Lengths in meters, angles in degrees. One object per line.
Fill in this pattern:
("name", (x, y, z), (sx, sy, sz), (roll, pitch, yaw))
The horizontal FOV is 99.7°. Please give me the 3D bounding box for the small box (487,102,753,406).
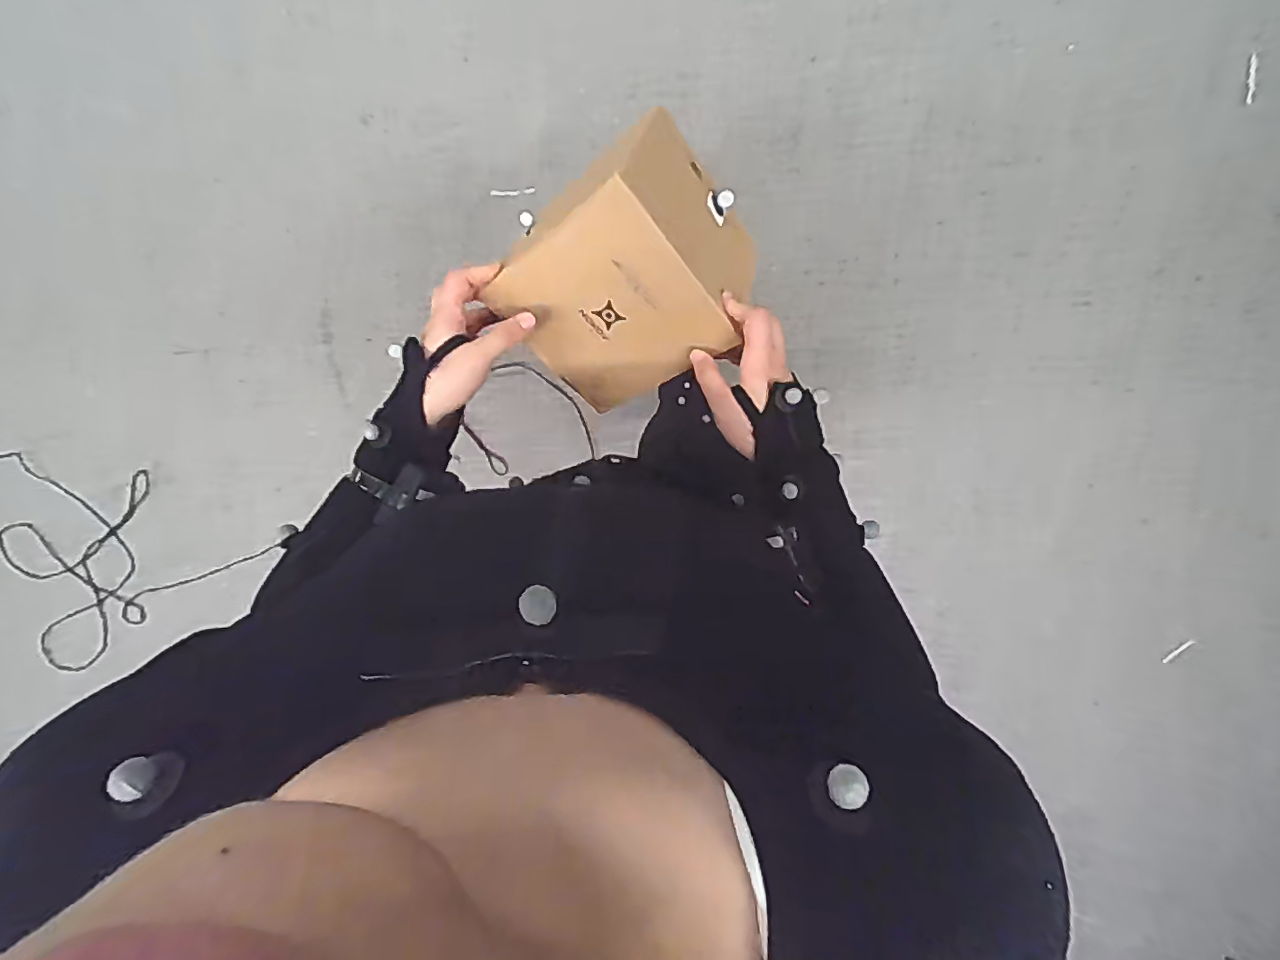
("small box", (-0.007, -0.208, 0.520), (0.179, 0.176, 0.168), (-22, 130, 37))
